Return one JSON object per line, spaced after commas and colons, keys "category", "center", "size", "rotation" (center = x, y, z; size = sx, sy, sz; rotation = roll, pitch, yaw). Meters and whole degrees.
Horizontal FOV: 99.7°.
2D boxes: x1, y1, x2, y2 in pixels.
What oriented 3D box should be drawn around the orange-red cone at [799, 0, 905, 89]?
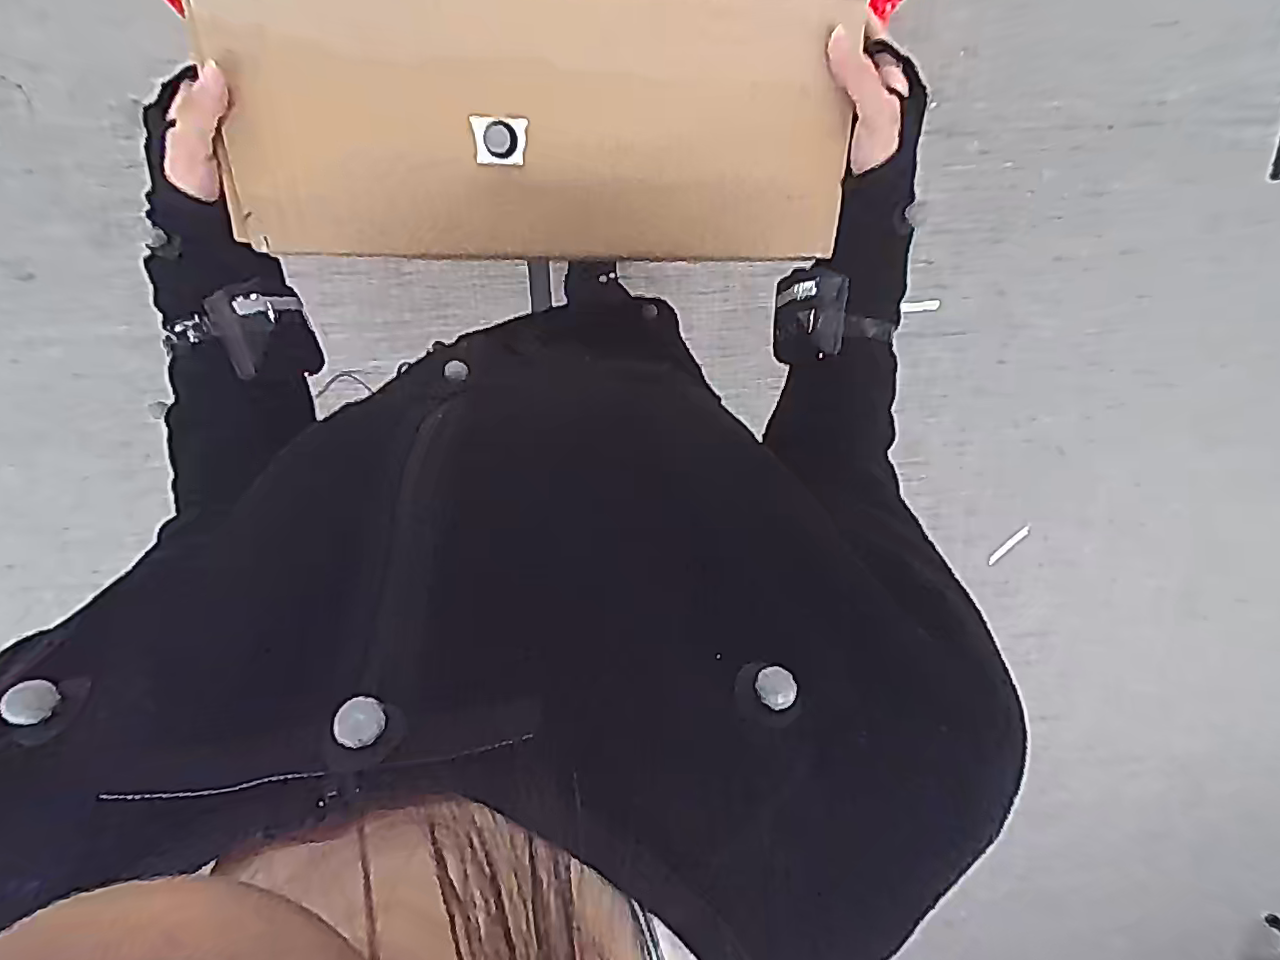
{"category": "orange-red cone", "center": [0.461, -0.919, 1.005], "size": [0.199, 0.360, 0.198], "rotation": [-13, 109, -2]}
